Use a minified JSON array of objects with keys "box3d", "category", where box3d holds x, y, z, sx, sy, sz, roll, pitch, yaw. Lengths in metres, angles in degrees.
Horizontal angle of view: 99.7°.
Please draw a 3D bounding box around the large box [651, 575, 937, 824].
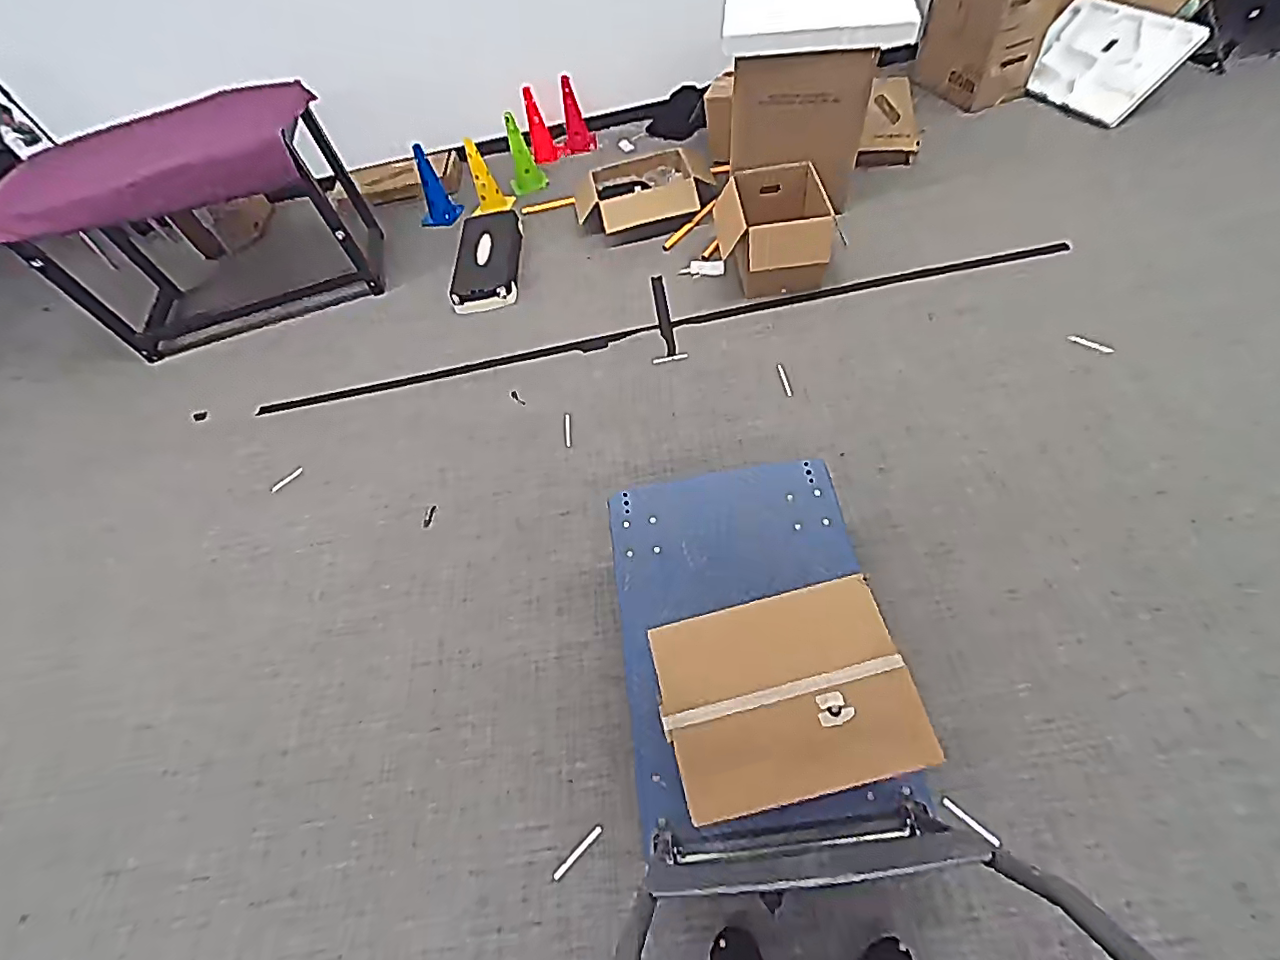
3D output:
[{"box3d":[0.262,0.424,1.050,0.408,0.320,0.320,-16,63,0],"category":"large box"}]
